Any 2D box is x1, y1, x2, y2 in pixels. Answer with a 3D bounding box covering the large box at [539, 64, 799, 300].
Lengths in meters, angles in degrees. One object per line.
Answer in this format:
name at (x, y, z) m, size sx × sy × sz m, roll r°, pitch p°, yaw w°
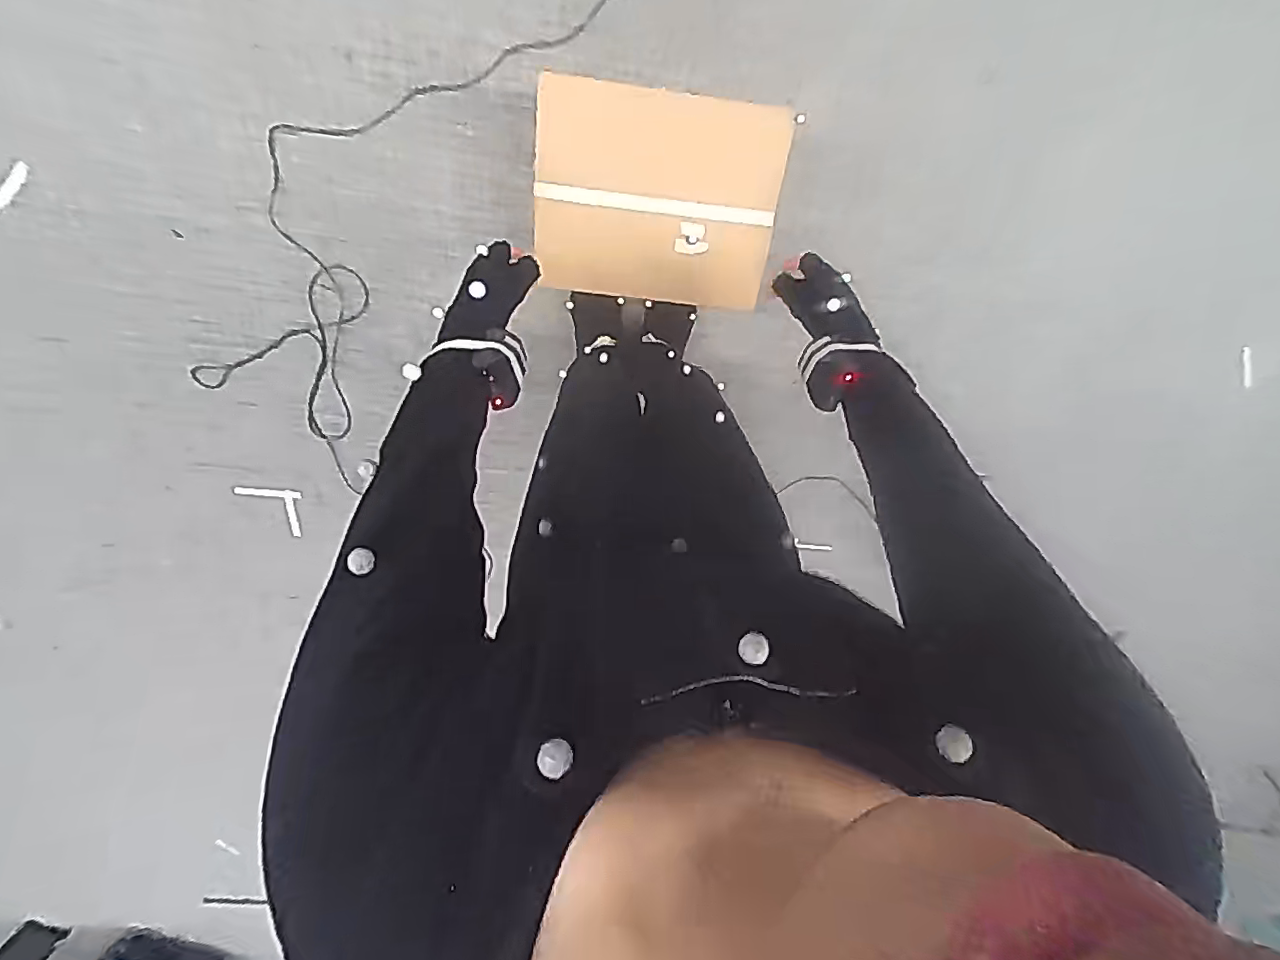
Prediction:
large box at (0.026, -0.545, 1.021) m, size 0.408 × 0.320 × 0.320 m, roll 5°, pitch 120°, yaw -6°
